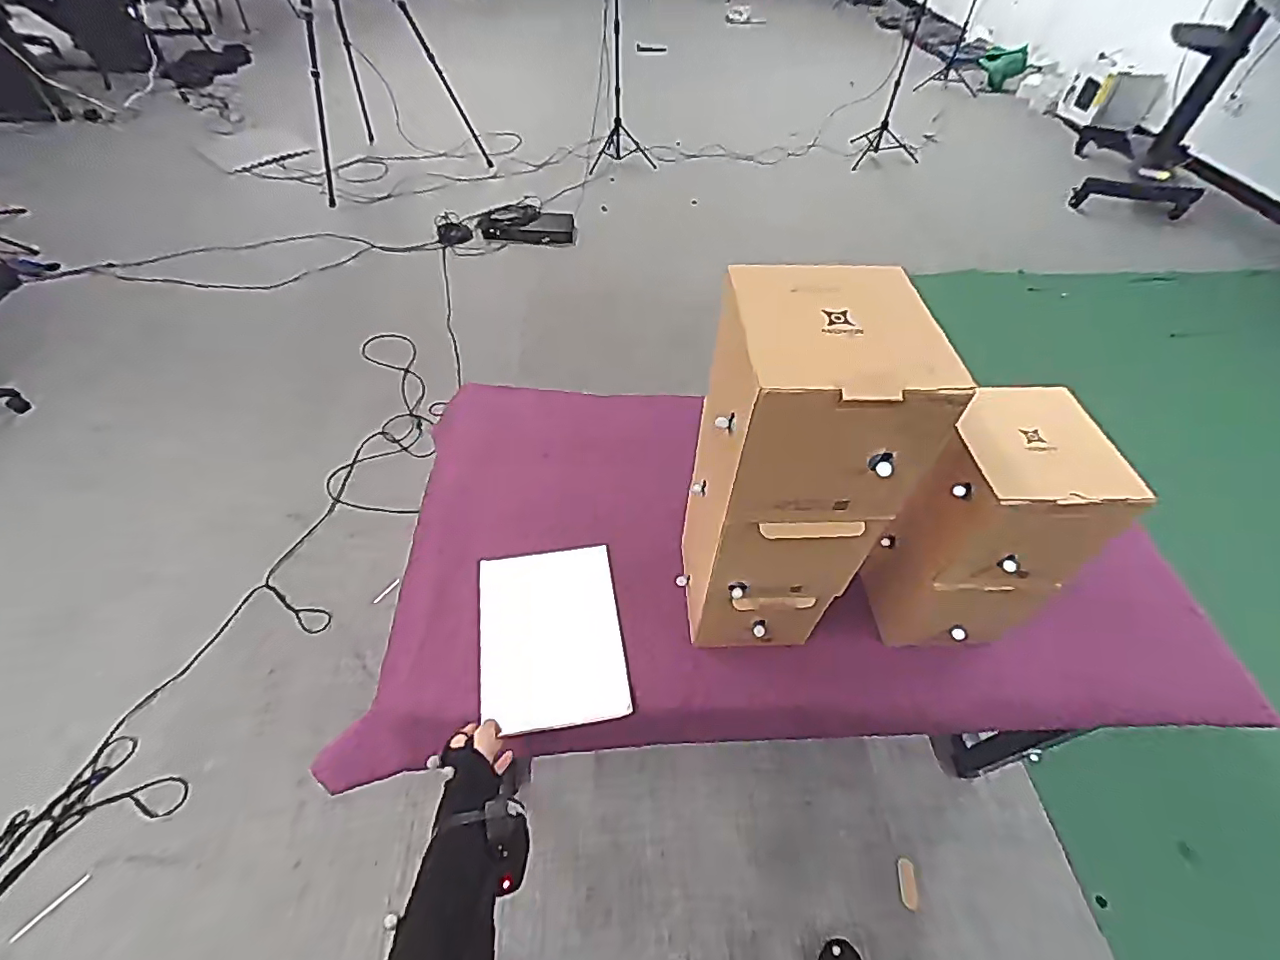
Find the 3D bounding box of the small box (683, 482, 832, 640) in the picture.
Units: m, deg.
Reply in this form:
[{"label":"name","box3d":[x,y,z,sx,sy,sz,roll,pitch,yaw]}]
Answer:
[{"label":"small box","box3d":[0.154,0.119,0.773,0.168,0.176,0.179,0,52,-2]}]

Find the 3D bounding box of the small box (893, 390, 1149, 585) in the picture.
[{"label":"small box","box3d":[0.430,0.010,0.658,0.168,0.176,0.179,0,51,-2]}]

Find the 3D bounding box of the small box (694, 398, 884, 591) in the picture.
[{"label":"small box","box3d":[0.158,0.021,0.641,0.168,0.176,0.179,0,50,-2]}]

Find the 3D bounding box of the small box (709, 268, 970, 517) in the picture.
[{"label":"small box","box3d":[0.162,-0.078,0.512,0.168,0.176,0.179,1,50,-2]}]
